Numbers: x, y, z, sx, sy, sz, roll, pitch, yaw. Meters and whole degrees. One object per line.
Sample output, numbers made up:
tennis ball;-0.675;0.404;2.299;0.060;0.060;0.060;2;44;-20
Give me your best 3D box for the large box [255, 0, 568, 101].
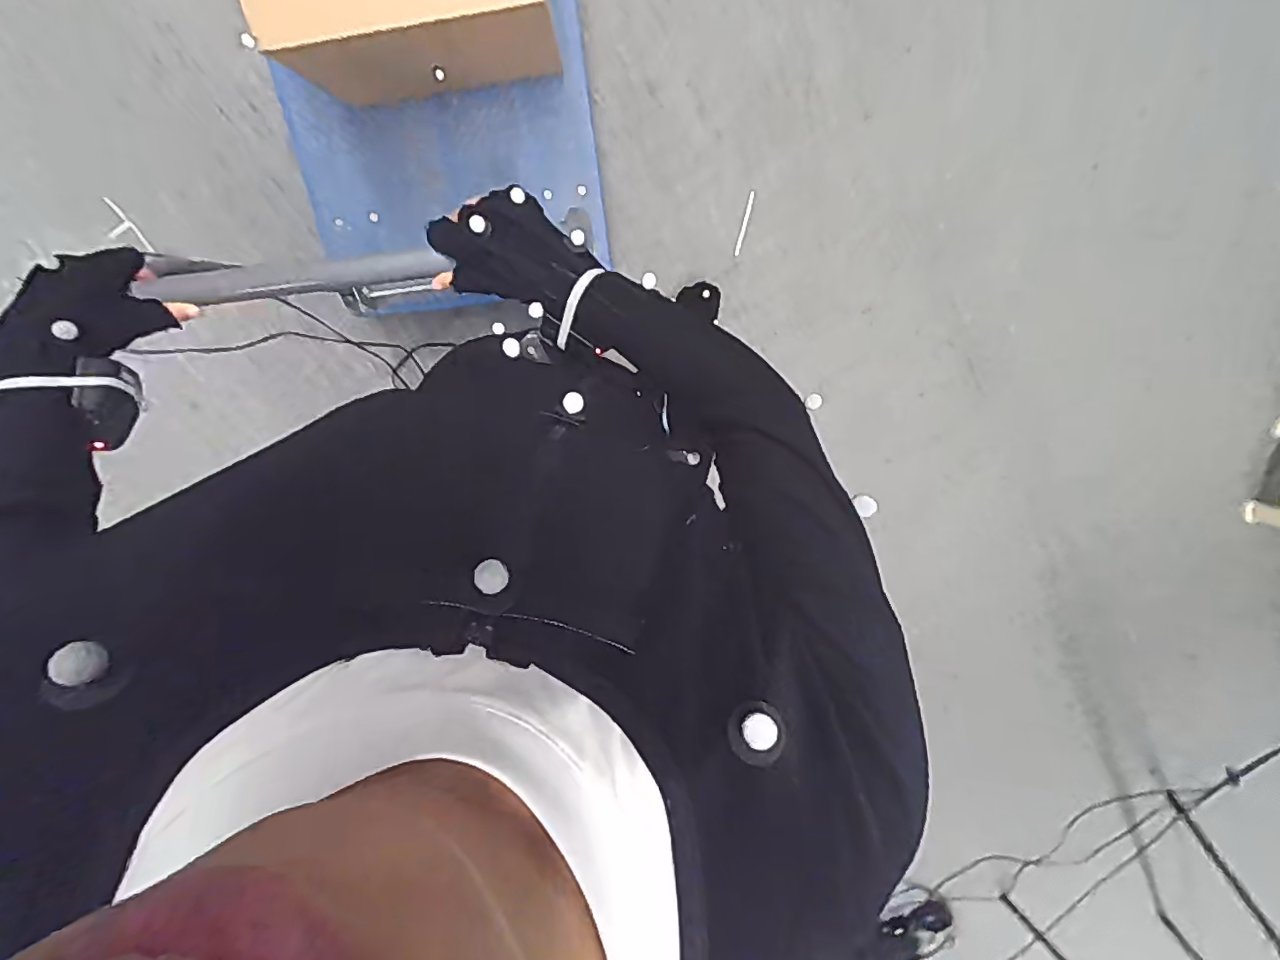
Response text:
large box;-0.345;-0.823;0.822;0.408;0.320;0.320;-9;112;1
